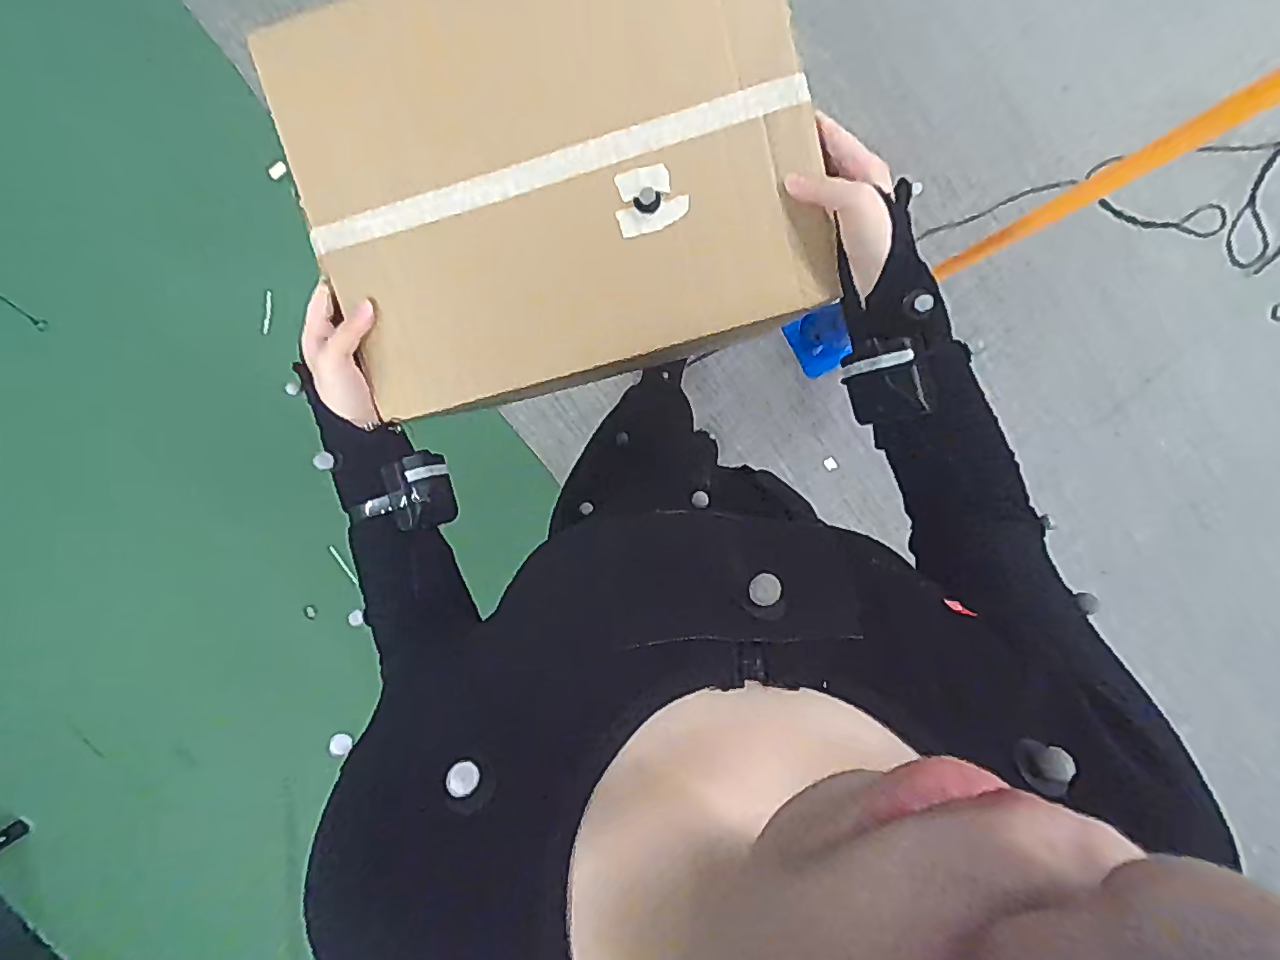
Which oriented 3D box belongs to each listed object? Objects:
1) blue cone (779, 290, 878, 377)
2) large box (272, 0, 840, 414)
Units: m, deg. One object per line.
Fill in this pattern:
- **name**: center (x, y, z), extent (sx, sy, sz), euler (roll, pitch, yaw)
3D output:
- **blue cone**: center (0.482, -0.371, 1.274), extent (0.192, 0.380, 0.193), euler (-28, 94, 6)
- **large box**: center (-0.062, -0.277, 0.584), extent (0.408, 0.320, 0.320), euler (-15, 99, 3)
